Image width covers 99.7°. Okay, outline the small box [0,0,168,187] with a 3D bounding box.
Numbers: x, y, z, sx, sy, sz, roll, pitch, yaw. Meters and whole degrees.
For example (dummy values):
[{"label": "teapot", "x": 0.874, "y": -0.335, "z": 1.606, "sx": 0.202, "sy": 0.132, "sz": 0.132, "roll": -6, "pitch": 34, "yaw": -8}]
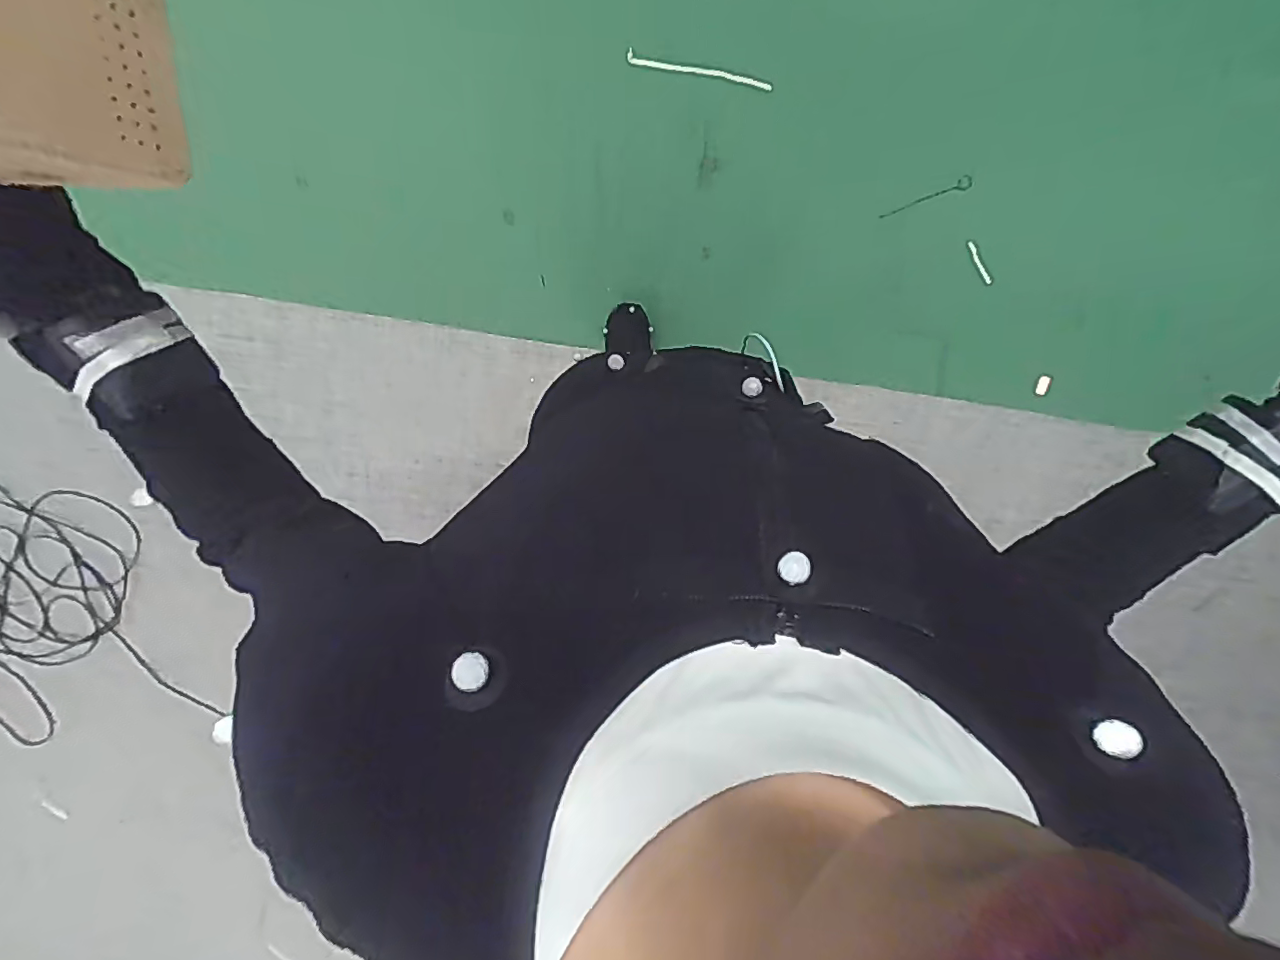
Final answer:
[{"label": "small box", "x": -0.287, "y": -0.197, "z": 0.145, "sx": 0.168, "sy": 0.176, "sz": 0.179, "roll": 8, "pitch": 109, "yaw": 12}]
